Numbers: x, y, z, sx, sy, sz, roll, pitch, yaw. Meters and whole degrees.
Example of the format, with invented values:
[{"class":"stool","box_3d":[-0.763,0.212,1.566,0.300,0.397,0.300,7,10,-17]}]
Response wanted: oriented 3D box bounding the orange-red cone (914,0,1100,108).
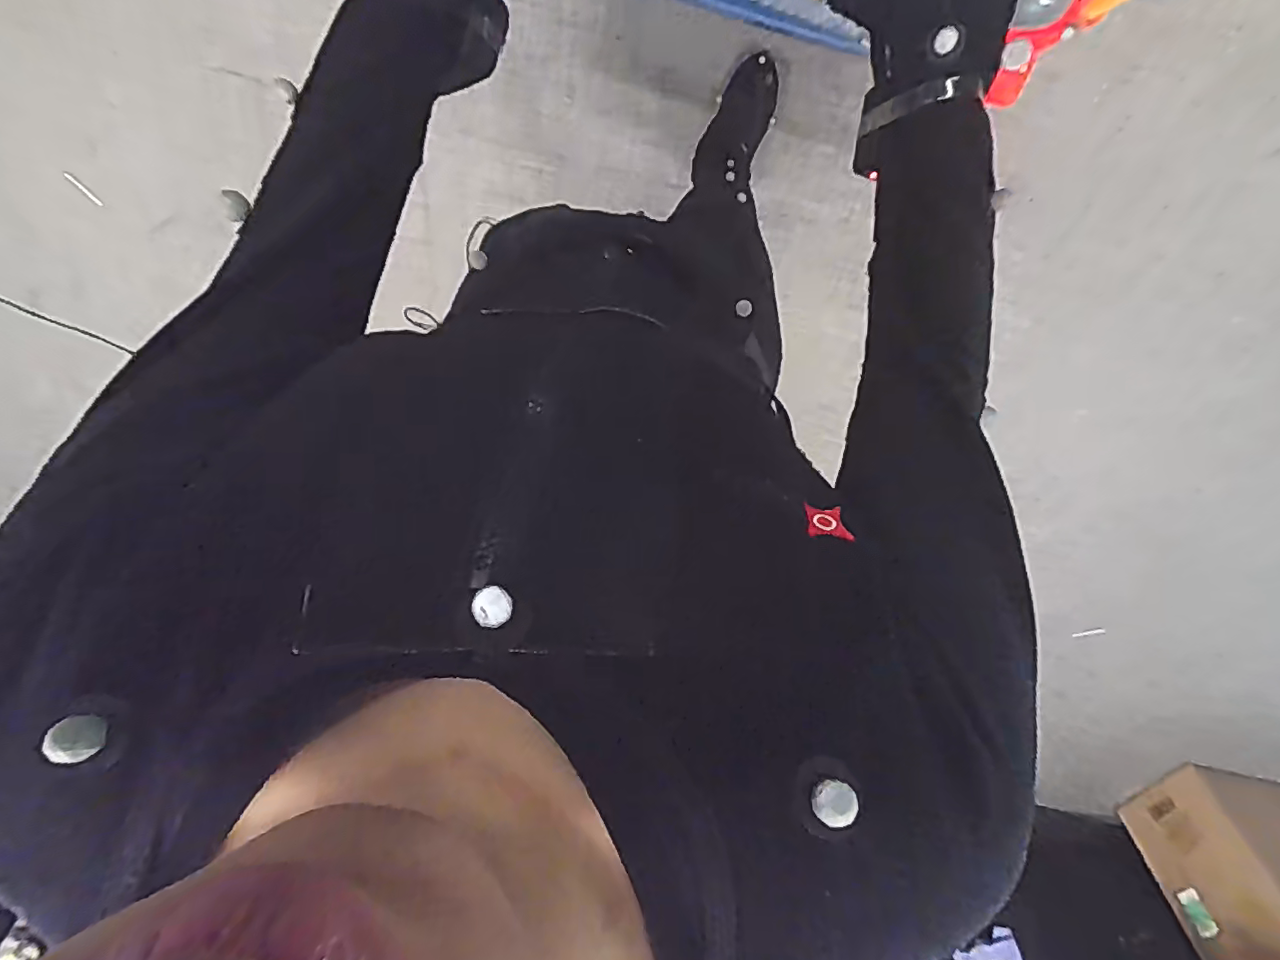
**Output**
[{"class":"orange-red cone","box_3d":[0.615,-0.730,0.863,0.199,0.360,0.198,15,125,0]}]
